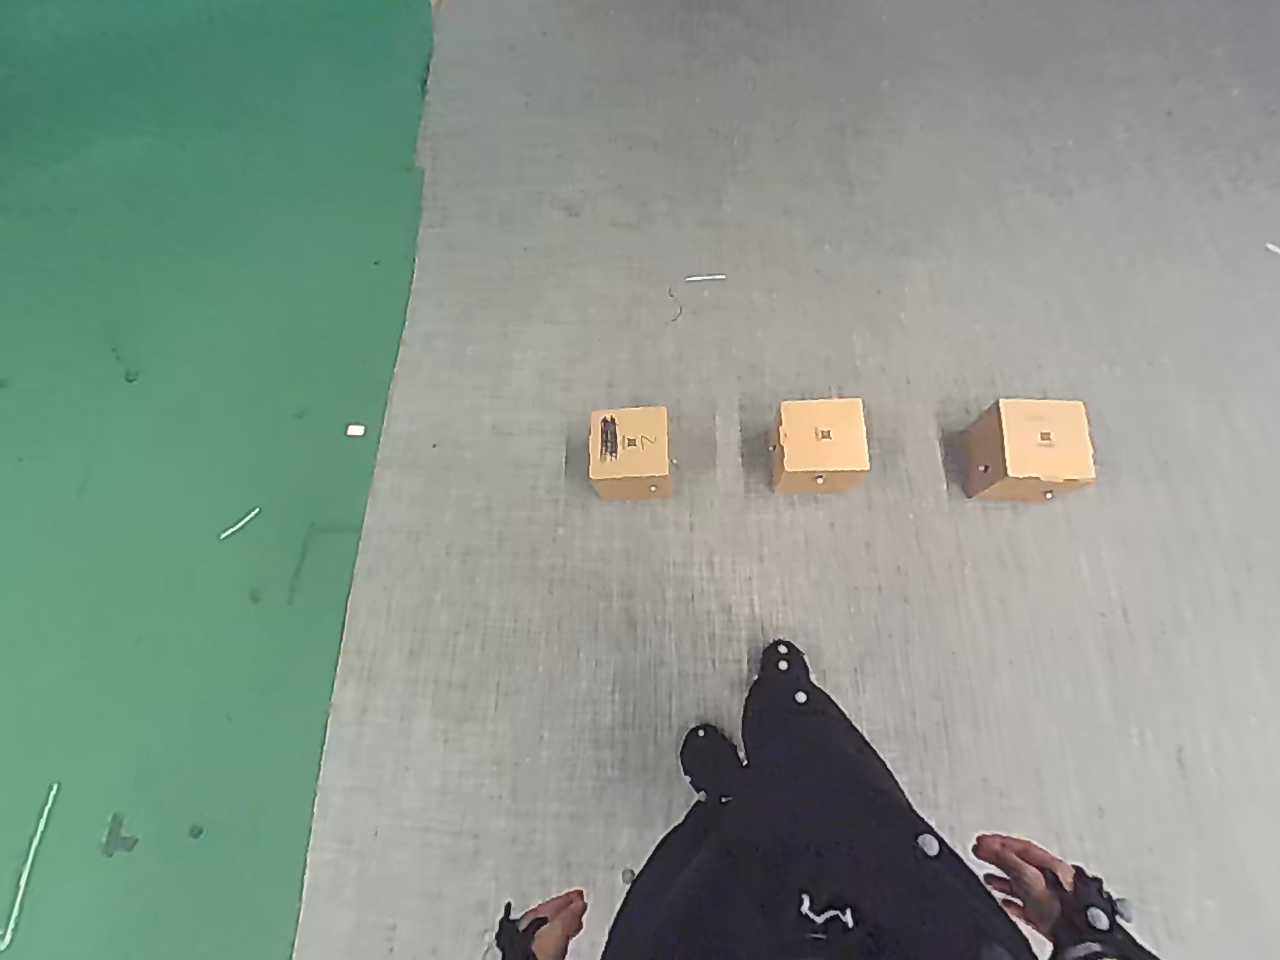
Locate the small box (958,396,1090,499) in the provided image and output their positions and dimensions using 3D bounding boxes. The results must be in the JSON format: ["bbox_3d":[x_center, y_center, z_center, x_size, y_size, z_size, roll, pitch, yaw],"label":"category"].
[{"bbox_3d":[0.819,-0.064,1.171,0.168,0.176,0.179,3,71,6],"label":"small box"}]

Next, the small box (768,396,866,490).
[{"bbox_3d":[0.391,-0.078,1.221,0.179,0.176,0.168,-1,72,6],"label":"small box"}]
